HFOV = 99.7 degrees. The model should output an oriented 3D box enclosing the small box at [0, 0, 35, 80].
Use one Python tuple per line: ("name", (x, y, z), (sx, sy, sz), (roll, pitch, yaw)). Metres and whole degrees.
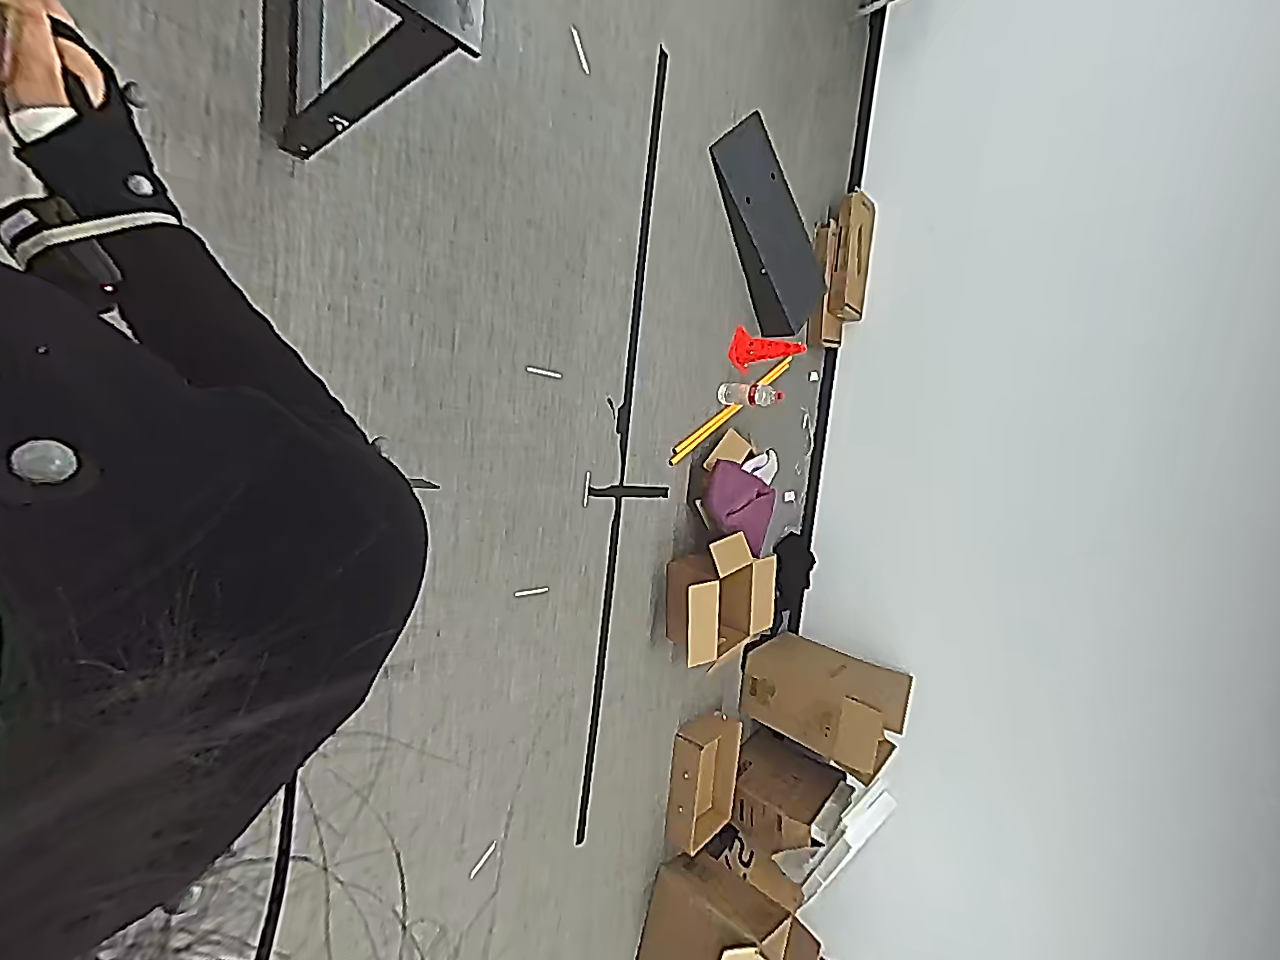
("small box", (-0.369, -0.297, 0.206), (0.168, 0.176, 0.179), (-10, 113, -48))
